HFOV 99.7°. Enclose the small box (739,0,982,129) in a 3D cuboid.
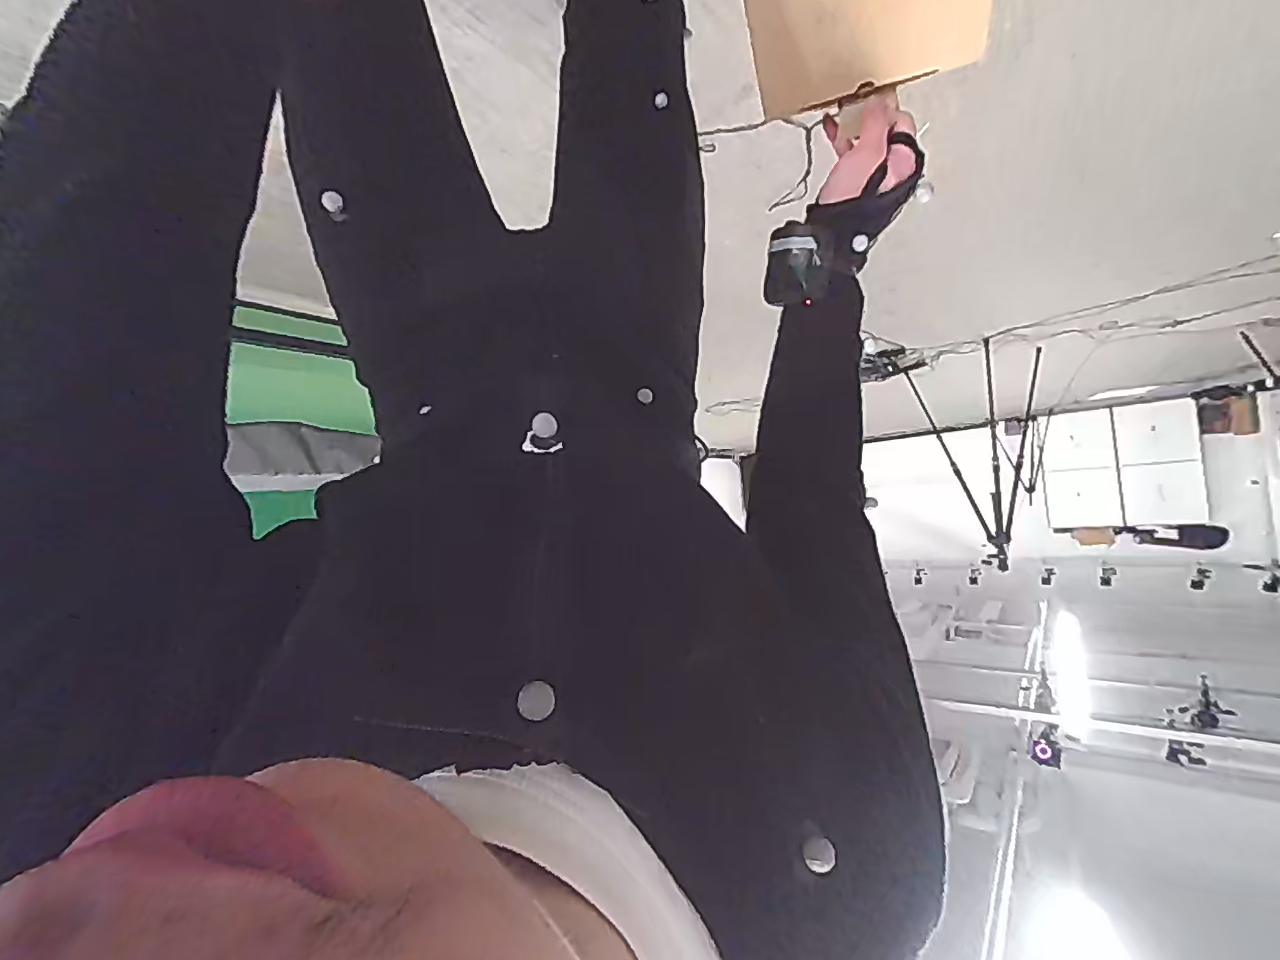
[{"bbox_3d":[0.177,-0.428,0.431,0.168,0.176,0.179,-2,137,29],"label":"small box"}]
